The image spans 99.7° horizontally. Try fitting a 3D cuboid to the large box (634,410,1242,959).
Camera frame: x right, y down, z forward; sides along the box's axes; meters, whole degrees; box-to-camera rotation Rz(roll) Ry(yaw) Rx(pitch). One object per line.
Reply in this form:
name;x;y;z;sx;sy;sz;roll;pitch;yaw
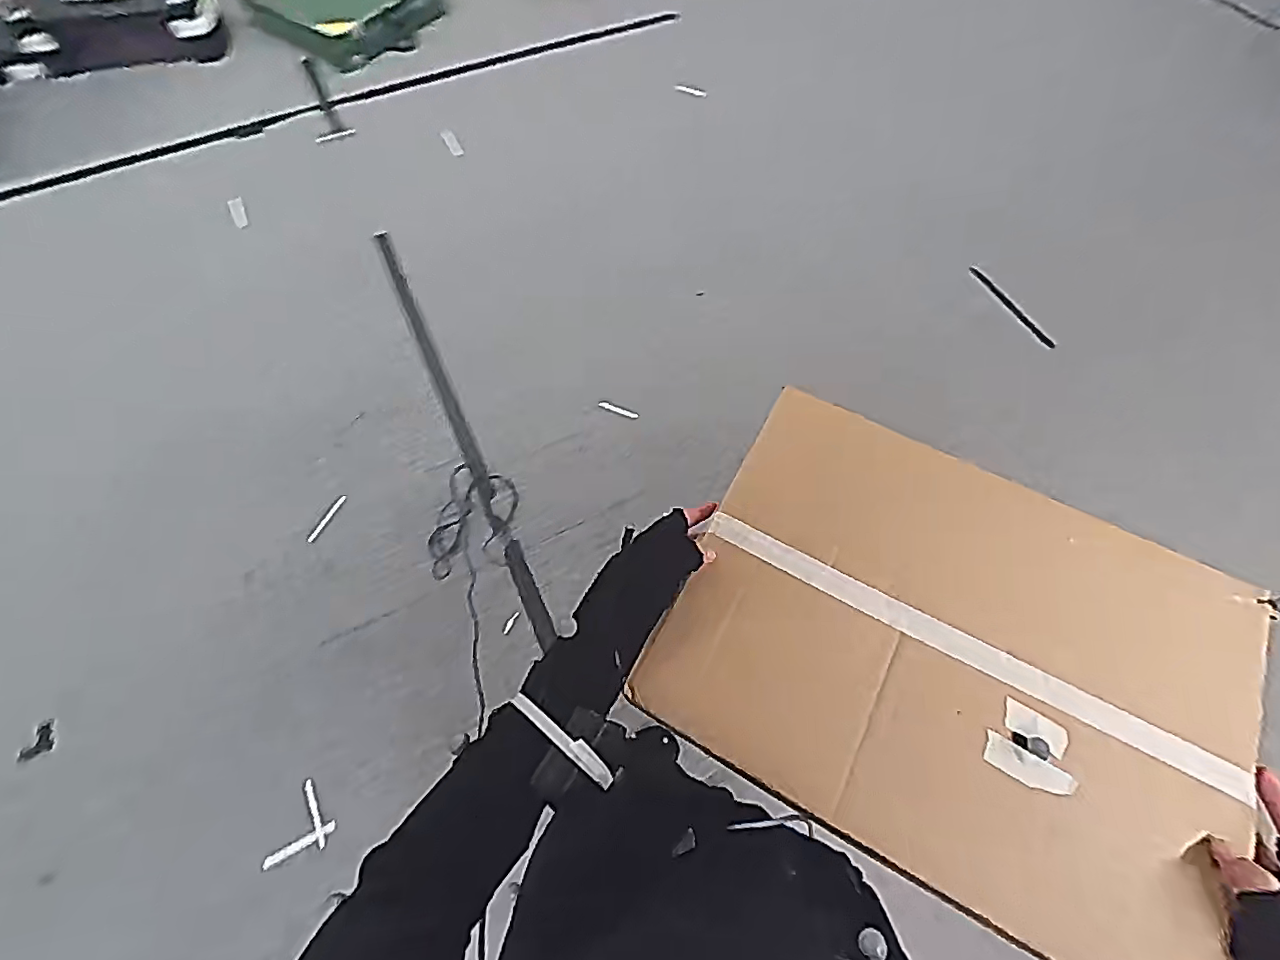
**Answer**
large box;0.240;0.195;0.558;0.408;0.320;0.320;26;70;13
